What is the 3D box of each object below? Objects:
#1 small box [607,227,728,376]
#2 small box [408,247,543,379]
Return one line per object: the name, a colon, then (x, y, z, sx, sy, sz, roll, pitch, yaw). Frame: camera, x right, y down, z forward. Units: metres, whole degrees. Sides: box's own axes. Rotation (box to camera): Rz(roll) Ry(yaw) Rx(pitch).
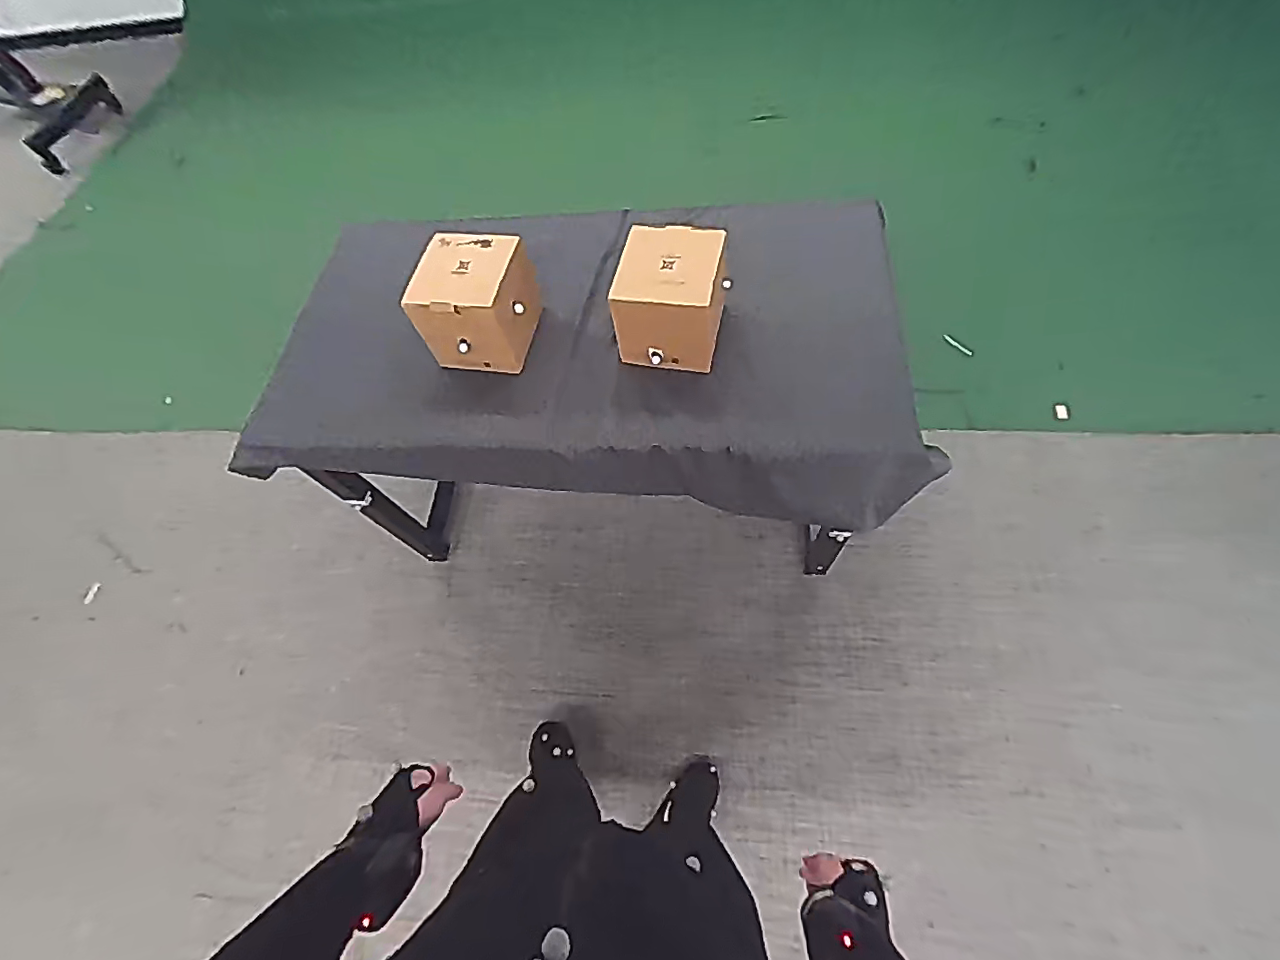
small box: (0.055, -0.310, 0.947, 0.168, 0.176, 0.179, 9, 64, 14)
small box: (-0.294, -0.305, 1.008, 0.168, 0.176, 0.179, 3, 62, 10)
